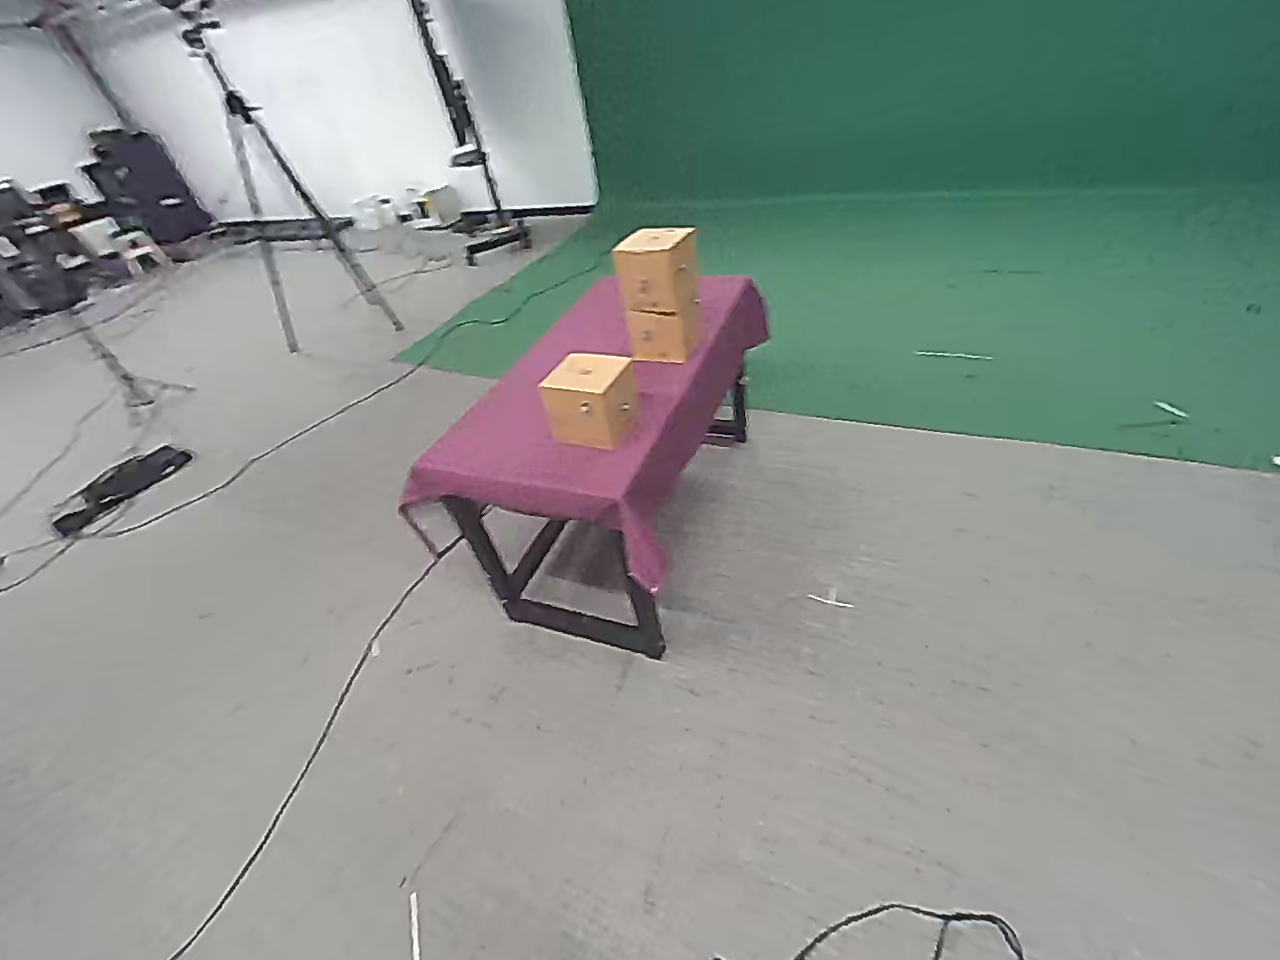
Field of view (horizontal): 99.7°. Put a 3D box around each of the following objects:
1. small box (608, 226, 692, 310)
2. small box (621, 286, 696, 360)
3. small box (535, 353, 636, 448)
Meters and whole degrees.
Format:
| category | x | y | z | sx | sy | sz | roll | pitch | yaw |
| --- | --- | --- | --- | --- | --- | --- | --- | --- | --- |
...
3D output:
| category | x | y | z | sx | sy | sz | roll | pitch | yaw |
| --- | --- | --- | --- | --- | --- | --- | --- | --- | --- |
| small box | 0.037 | -0.589 | 1.505 | 0.168 | 0.176 | 0.179 | 13 | 47 | 26 |
| small box | 0.064 | -0.472 | 1.618 | 0.168 | 0.176 | 0.179 | 9 | 44 | 23 |
| small box | -0.126 | -0.198 | 1.350 | 0.179 | 0.176 | 0.168 | 10 | 45 | 24 |
